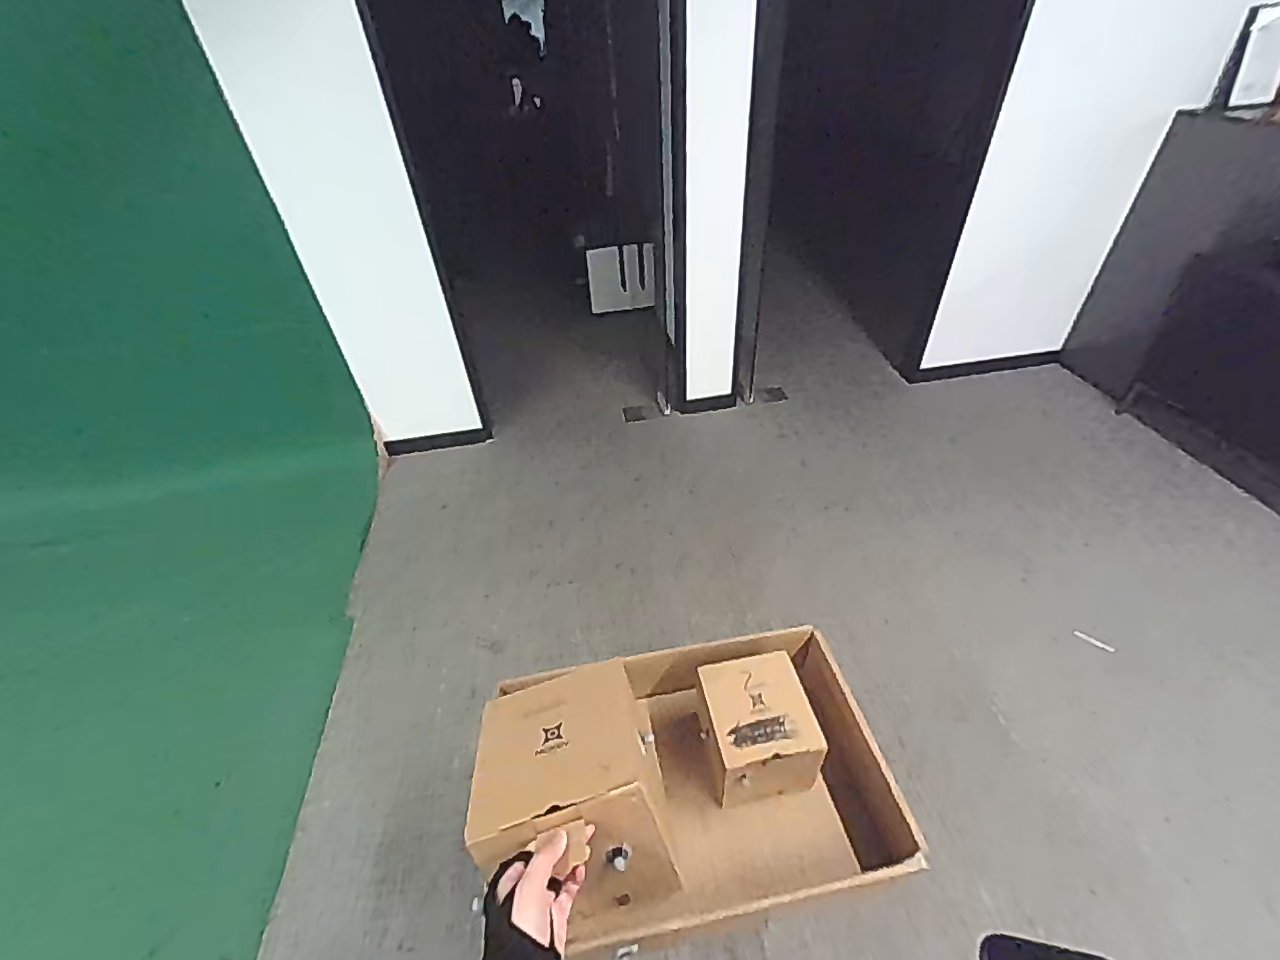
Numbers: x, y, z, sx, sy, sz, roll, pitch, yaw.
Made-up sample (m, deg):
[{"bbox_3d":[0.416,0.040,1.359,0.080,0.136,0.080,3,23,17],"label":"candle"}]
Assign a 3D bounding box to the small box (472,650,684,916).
[{"bbox_3d":[-0.062,0.328,0.592,0.168,0.176,0.179,-19,21,-1],"label":"small box"}]
